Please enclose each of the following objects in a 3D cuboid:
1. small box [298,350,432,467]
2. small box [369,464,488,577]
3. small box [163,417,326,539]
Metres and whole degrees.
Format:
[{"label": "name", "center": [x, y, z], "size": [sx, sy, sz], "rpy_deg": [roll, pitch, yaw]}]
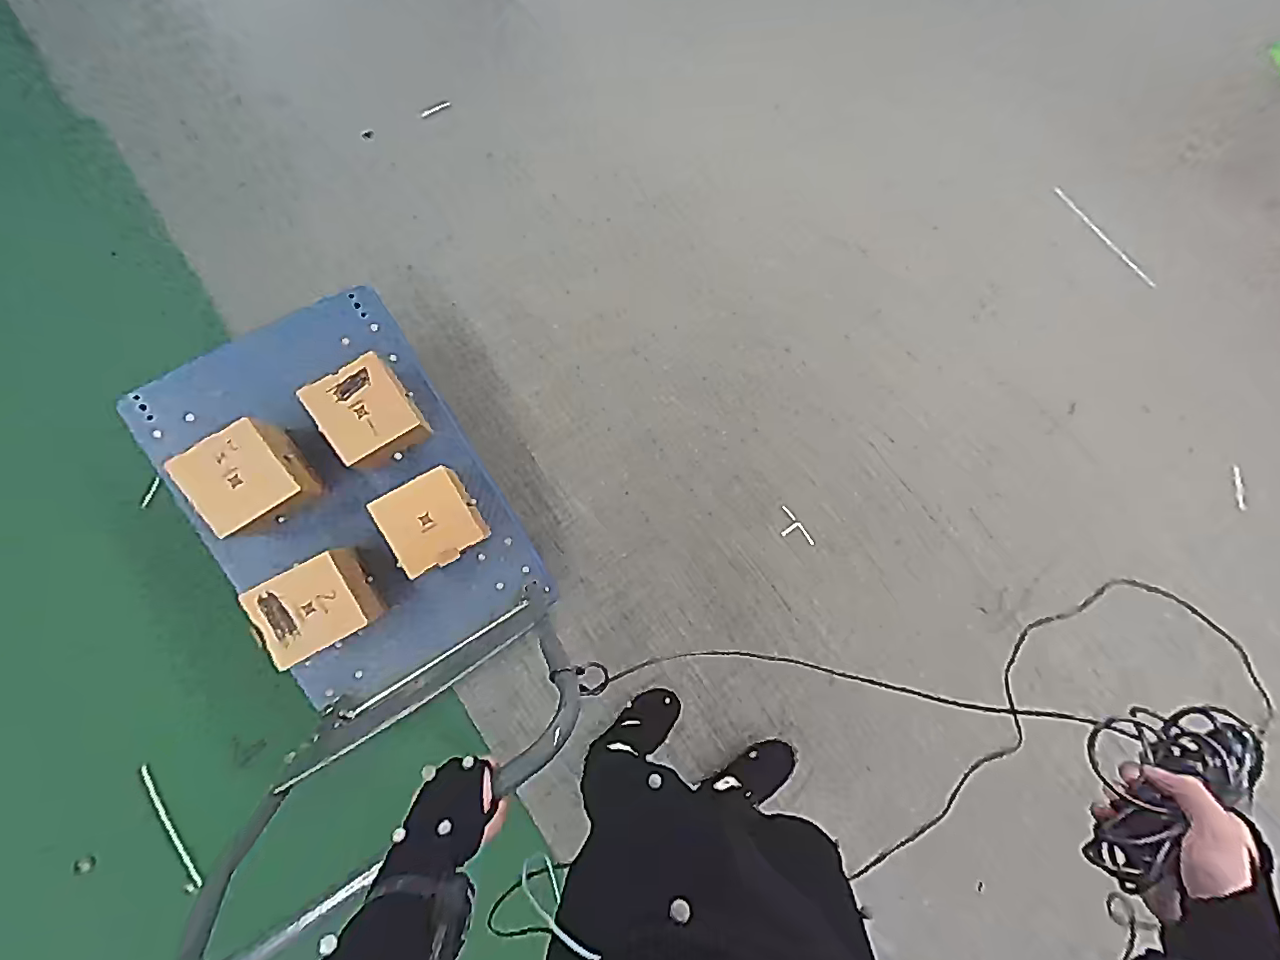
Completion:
[{"label": "small box", "center": [-0.567, -0.140, 1.140], "size": [0.168, 0.176, 0.179], "rpy_deg": [-34, 95, -11]}, {"label": "small box", "center": [-0.441, 0.085, 1.157], "size": [0.168, 0.176, 0.179], "rpy_deg": [-31, 94, -12]}, {"label": "small box", "center": [-0.777, -0.002, 1.088], "size": [0.168, 0.176, 0.179], "rpy_deg": [-36, 94, -12]}]
